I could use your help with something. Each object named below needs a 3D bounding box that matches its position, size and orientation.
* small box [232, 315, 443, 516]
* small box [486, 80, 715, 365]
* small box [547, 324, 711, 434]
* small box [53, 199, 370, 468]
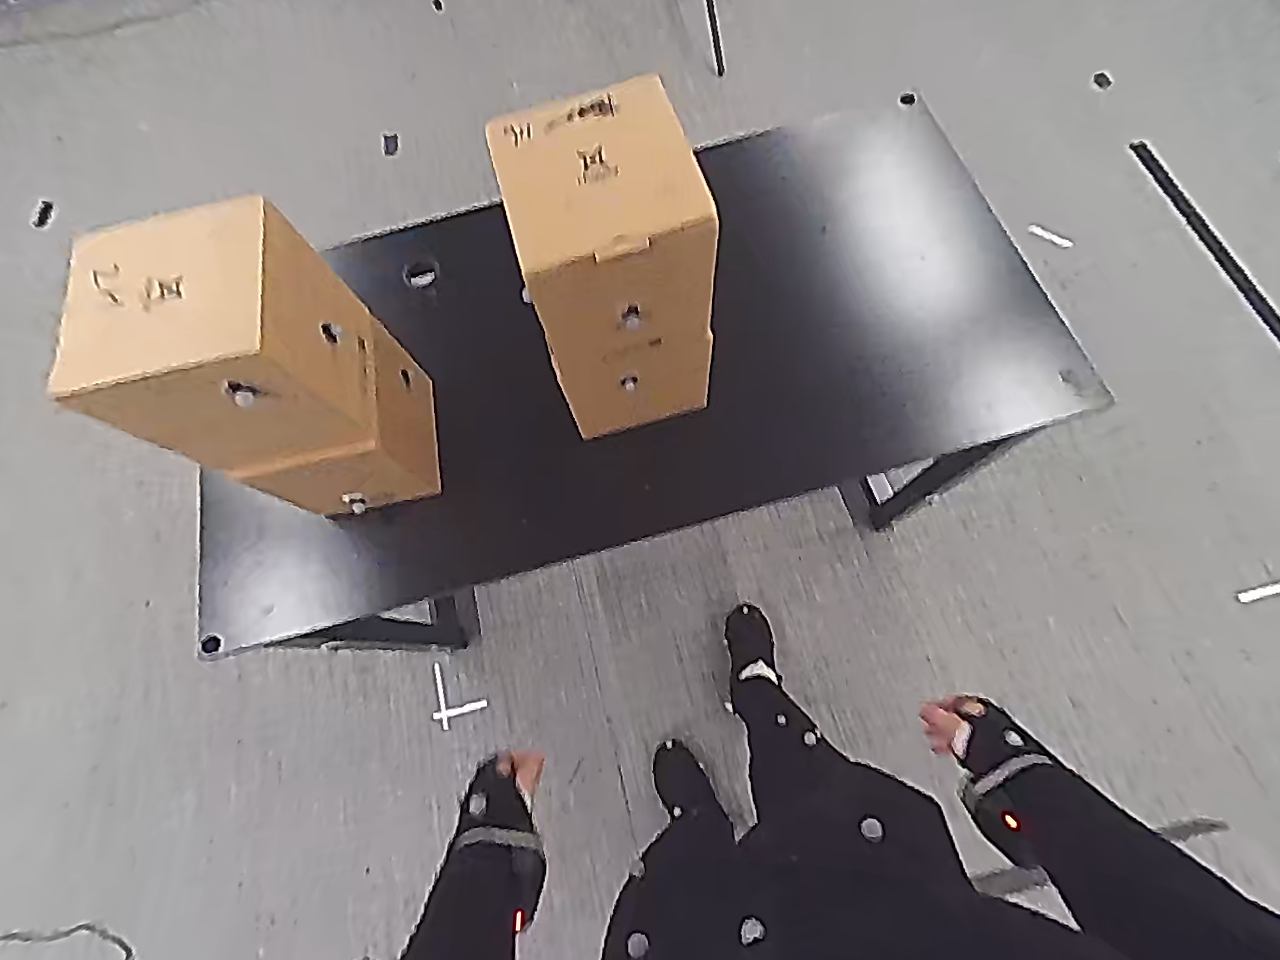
[{"bbox_3d":[-0.364,-0.071,0.677,0.168,0.176,0.179,-13,72,1],"label":"small box"},{"bbox_3d":[-0.031,-0.233,0.531,0.168,0.176,0.179,-16,72,-1],"label":"small box"},{"bbox_3d":[-0.018,-0.177,0.684,0.179,0.176,0.168,-15,71,-2],"label":"small box"},{"bbox_3d":[-0.383,-0.127,0.523,0.179,0.176,0.168,-13,70,1],"label":"small box"}]
